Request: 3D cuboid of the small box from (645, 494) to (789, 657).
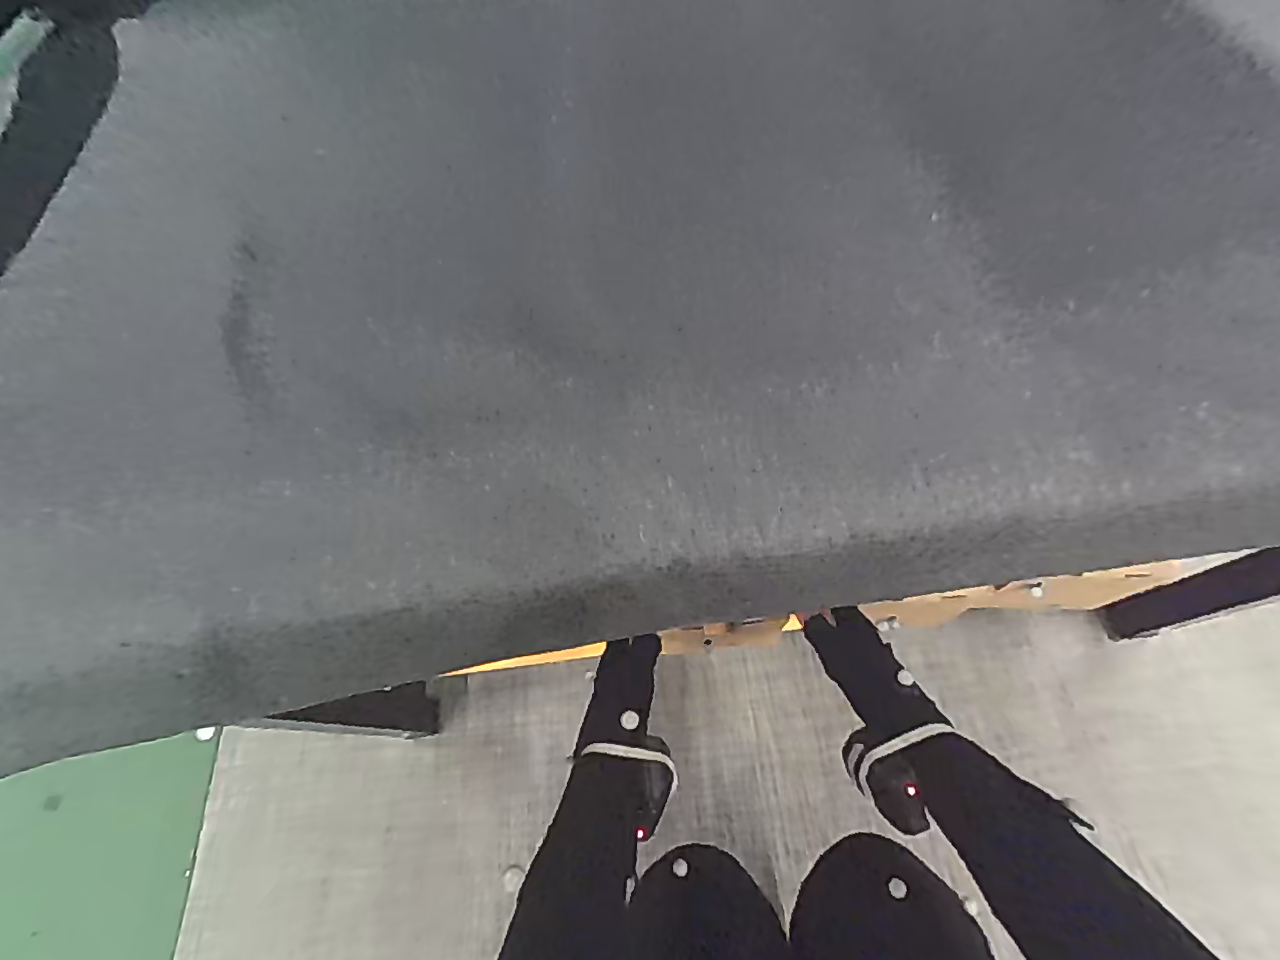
[{"bbox_3d":[0.097,0.138,0.751,0.168,0.176,0.179,-6,64,2],"label":"small box"}]
